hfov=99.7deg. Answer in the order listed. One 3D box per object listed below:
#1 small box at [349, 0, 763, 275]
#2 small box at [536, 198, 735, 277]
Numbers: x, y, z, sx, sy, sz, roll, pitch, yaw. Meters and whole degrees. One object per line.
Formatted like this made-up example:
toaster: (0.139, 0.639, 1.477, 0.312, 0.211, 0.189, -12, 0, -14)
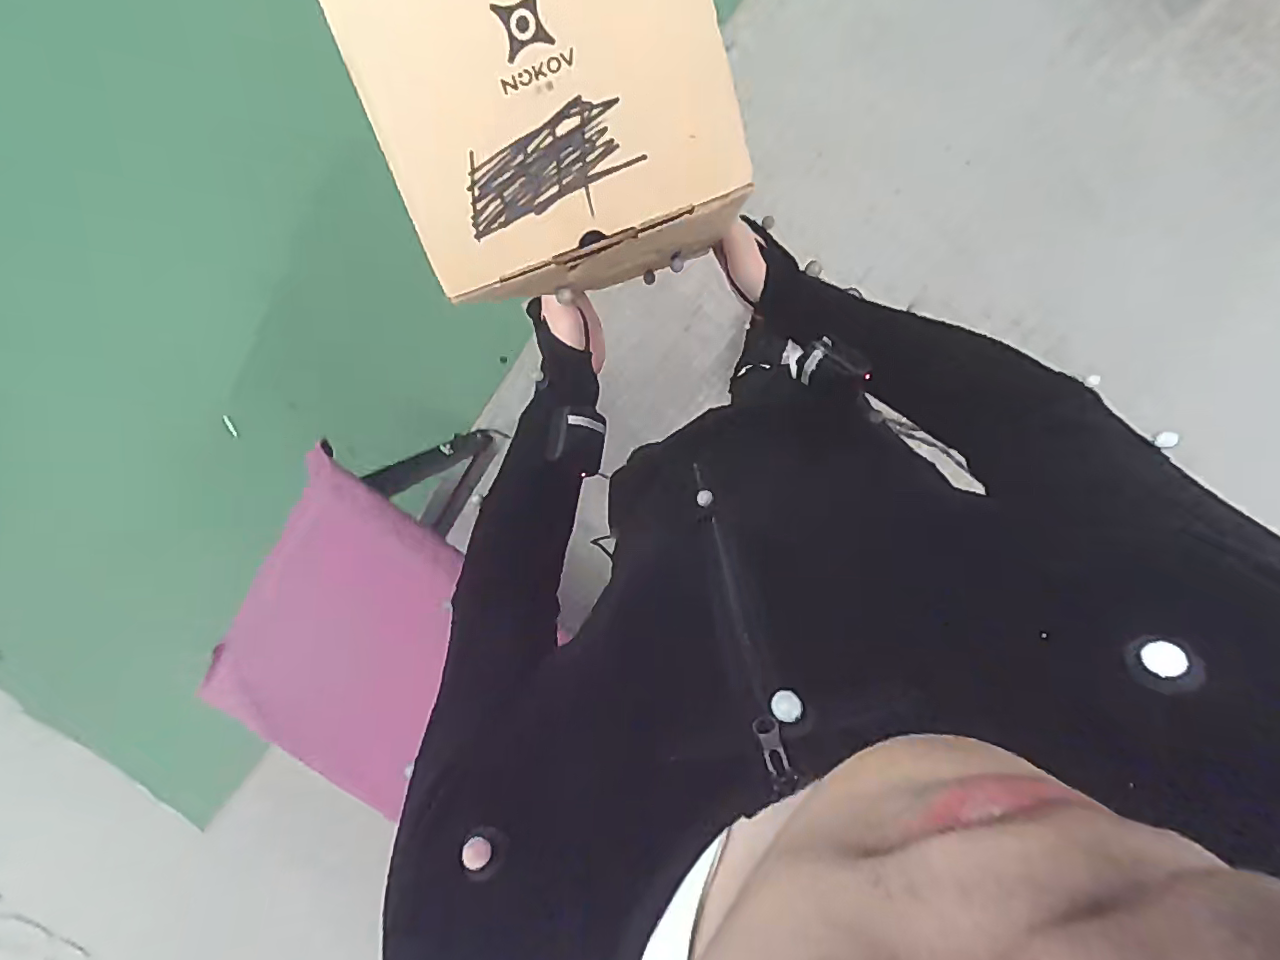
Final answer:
small box: (-0.036, -0.232, 0.313, 0.168, 0.176, 0.179, -15, 108, 10)
small box: (-0.020, -0.287, 0.466, 0.168, 0.176, 0.179, -14, 108, 10)
